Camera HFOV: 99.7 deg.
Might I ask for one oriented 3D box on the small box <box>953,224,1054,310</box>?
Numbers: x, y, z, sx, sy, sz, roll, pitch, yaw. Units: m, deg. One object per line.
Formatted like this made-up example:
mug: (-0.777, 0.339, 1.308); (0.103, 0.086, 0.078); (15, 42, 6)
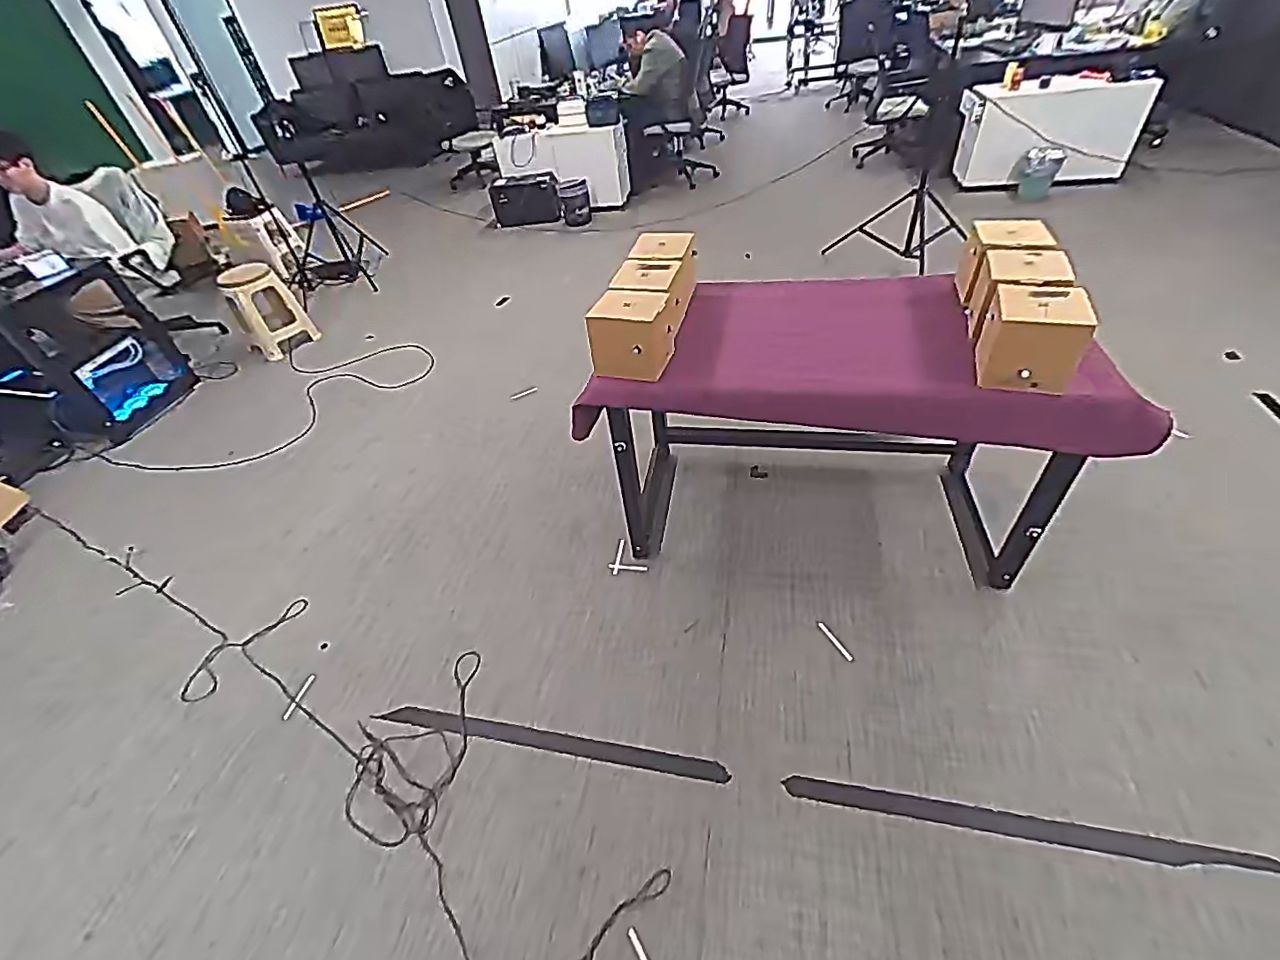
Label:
small box: (0.967, -0.573, 1.458); (0.168, 0.176, 0.179); (7, 45, 14)

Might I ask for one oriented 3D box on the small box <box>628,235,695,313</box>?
small box: (0.071, -0.631, 1.652); (0.168, 0.176, 0.179); (6, 46, 15)

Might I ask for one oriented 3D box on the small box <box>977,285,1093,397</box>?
small box: (0.861, -0.309, 1.197); (0.168, 0.176, 0.179); (11, 50, 23)
